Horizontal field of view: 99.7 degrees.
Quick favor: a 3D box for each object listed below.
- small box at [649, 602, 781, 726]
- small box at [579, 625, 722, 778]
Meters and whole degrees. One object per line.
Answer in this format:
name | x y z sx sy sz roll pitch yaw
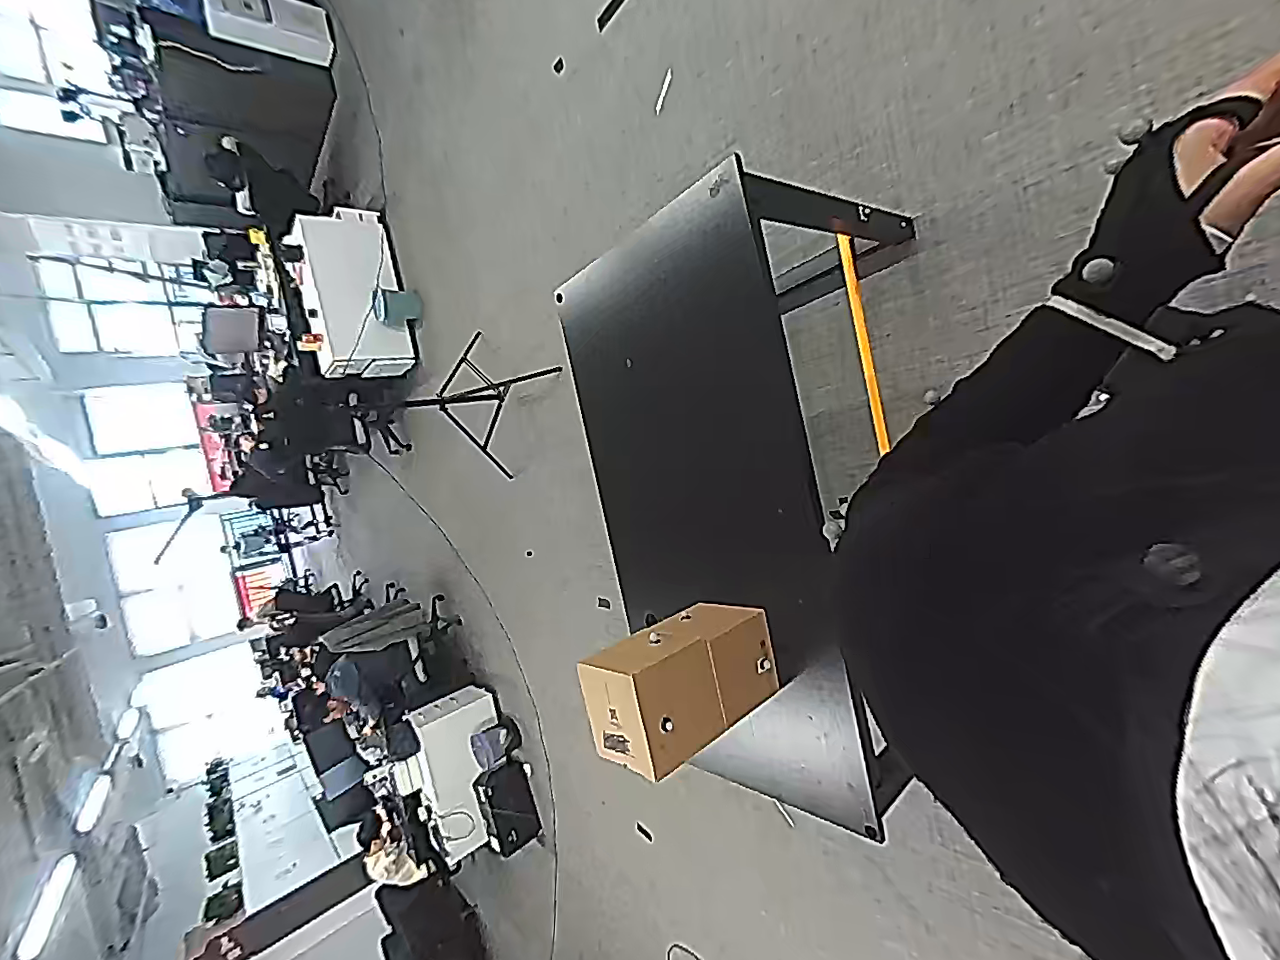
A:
small box | 0.145 0.345 1.054 0.179 0.176 0.168 -10 94 50
small box | 0.022 0.375 0.949 0.168 0.176 0.179 -12 92 51
